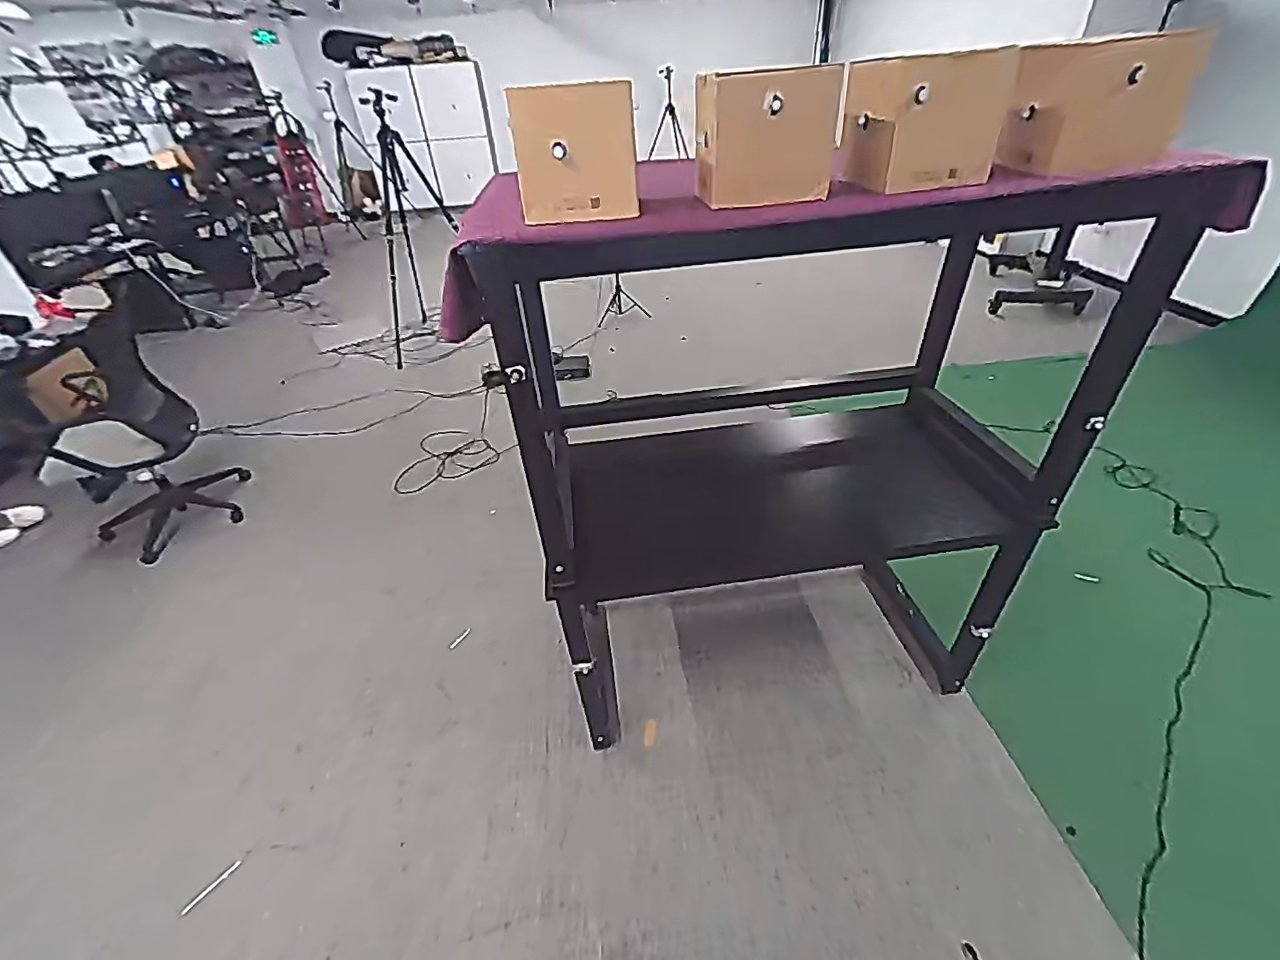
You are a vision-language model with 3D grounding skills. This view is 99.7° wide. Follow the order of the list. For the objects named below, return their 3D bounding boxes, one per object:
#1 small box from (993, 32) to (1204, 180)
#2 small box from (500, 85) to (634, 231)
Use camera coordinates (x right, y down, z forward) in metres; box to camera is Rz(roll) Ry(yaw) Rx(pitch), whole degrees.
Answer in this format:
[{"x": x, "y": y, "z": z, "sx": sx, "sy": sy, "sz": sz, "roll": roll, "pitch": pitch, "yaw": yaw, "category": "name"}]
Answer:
[{"x": 0.694, "y": -0.584, "z": 0.852, "sx": 0.179, "sy": 0.176, "sz": 0.168, "roll": -6, "pitch": 38, "yaw": 0, "category": "small box"}, {"x": -0.099, "y": -0.480, "z": 0.811, "sx": 0.168, "sy": 0.176, "sz": 0.179, "roll": -5, "pitch": 35, "yaw": 0, "category": "small box"}]
